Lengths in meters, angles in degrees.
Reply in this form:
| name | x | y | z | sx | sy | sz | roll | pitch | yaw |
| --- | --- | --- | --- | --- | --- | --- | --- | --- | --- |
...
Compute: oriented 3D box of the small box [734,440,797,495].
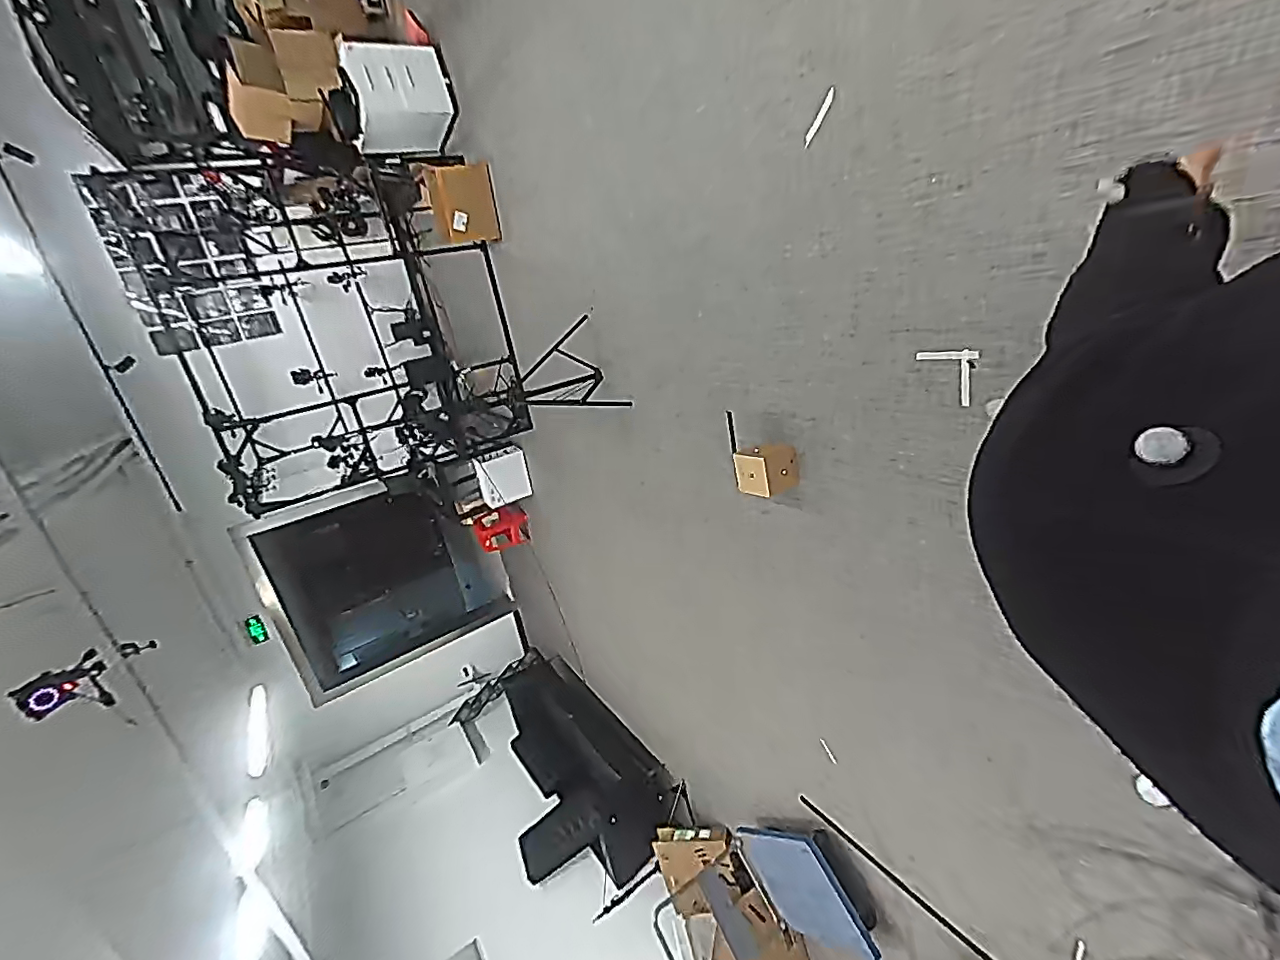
| name | x | y | z | sx | sy | sz | roll | pitch | yaw |
| --- | --- | --- | --- | --- | --- | --- | --- | --- | --- |
| small box | 0.507 | -0.056 | 2.156 | 0.179 | 0.176 | 0.168 | 16 | 123 | 57 |
